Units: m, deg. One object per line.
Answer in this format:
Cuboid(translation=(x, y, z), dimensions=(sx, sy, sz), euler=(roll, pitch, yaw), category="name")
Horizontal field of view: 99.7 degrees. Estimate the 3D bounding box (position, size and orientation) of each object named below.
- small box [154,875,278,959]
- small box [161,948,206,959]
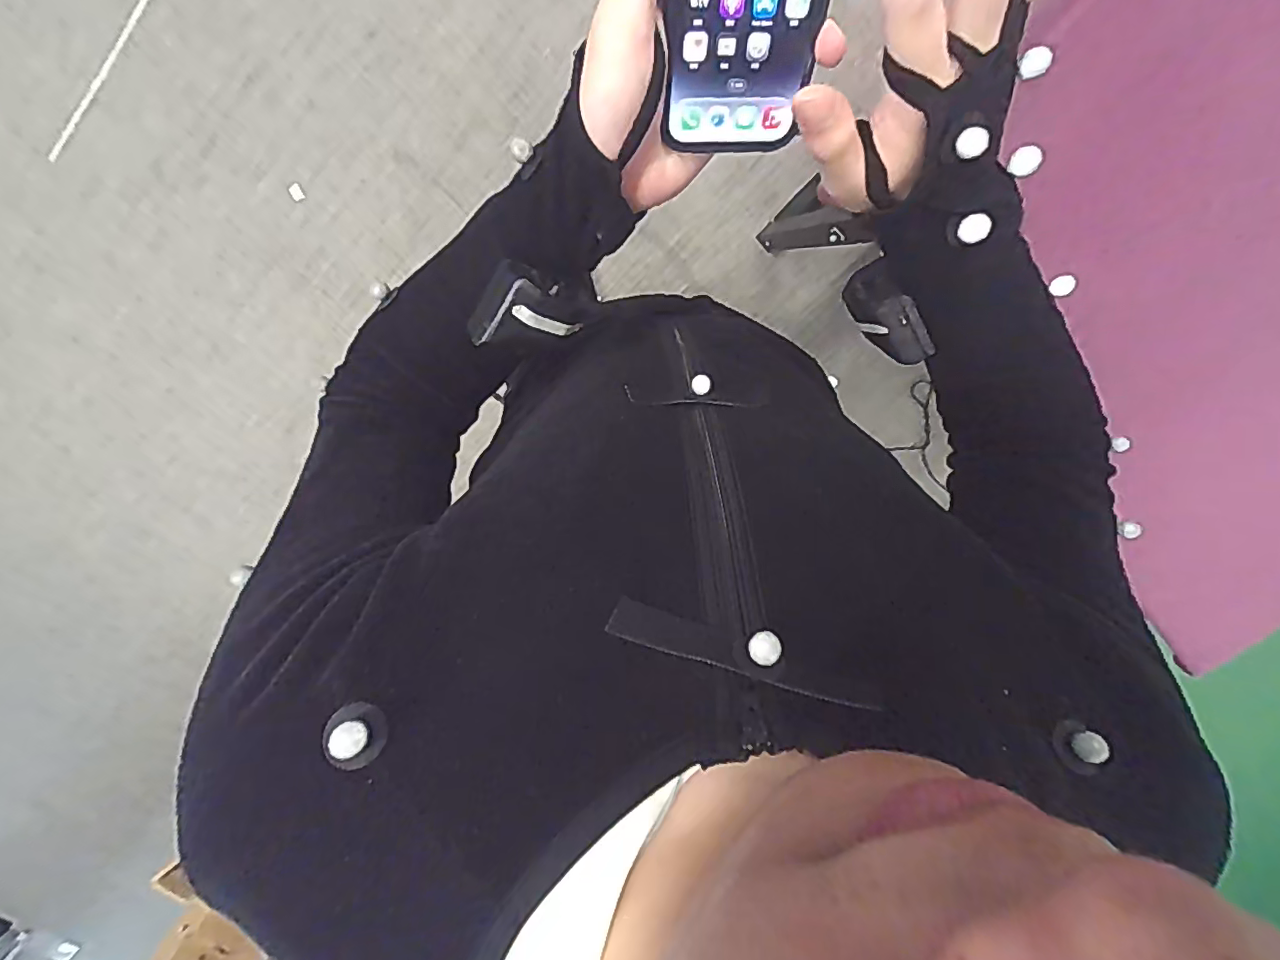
Cuboid(translation=(-1.035, 1.121, 1.323), dimensions=(0.179, 0.176, 0.168), euler=(-36, 108, 10), category="small box")
Cuboid(translation=(-1.038, 1.173, 1.167), dimensions=(0.179, 0.176, 0.168), euler=(-37, 108, 10), category="small box")
